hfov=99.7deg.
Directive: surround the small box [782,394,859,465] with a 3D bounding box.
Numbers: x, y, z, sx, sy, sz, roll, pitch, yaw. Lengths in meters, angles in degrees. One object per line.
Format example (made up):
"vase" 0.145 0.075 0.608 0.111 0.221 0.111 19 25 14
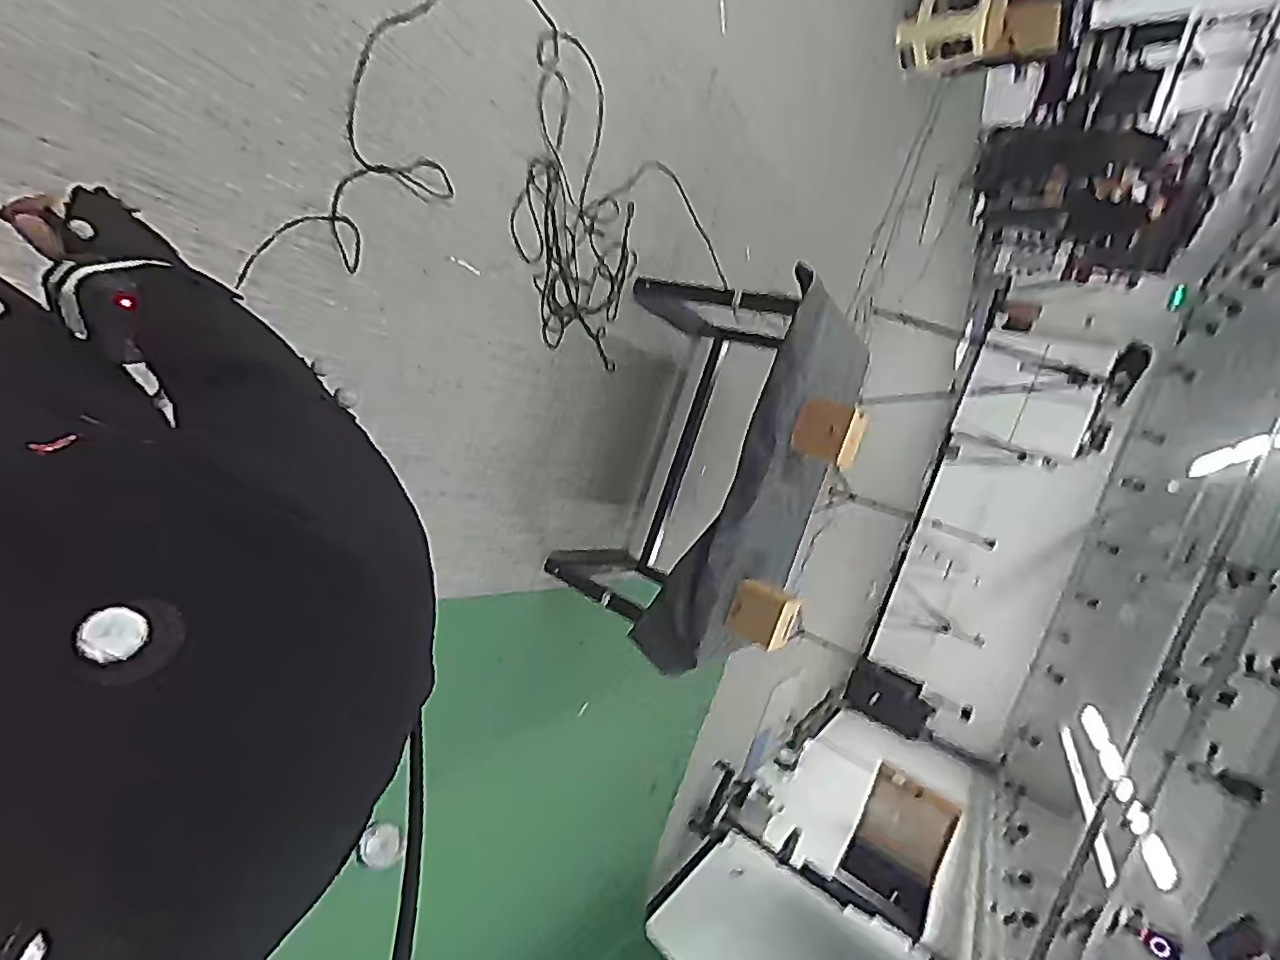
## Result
"small box" 0.577 -0.162 1.732 0.168 0.176 0.179 11 100 -56
